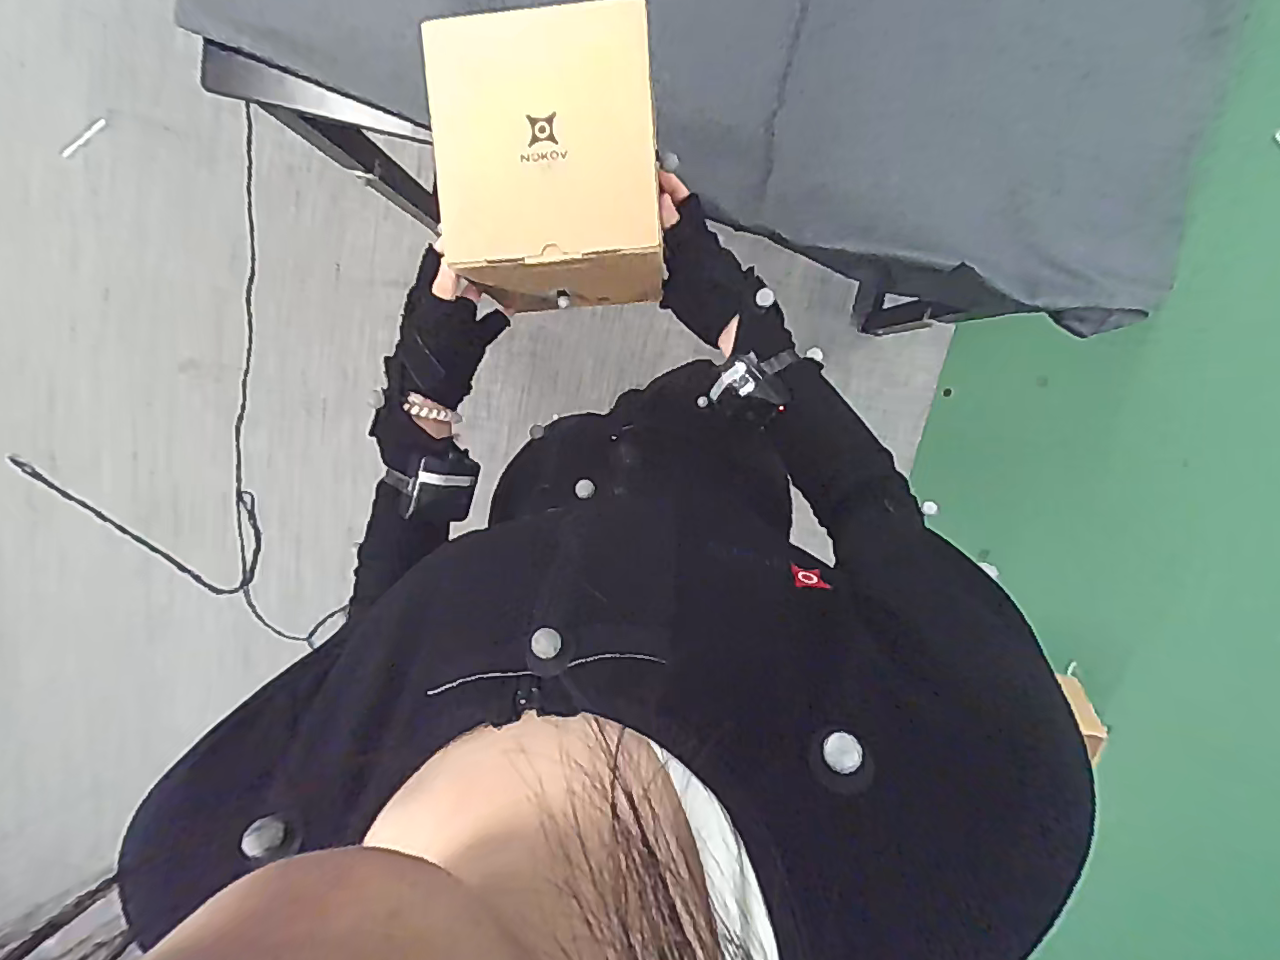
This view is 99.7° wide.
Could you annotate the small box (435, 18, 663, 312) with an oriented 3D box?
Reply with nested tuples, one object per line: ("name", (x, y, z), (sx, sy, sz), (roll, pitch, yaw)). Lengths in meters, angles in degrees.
("small box", (-0.066, -0.263, 0.494), (0.168, 0.176, 0.179), (-4, 97, 3))
